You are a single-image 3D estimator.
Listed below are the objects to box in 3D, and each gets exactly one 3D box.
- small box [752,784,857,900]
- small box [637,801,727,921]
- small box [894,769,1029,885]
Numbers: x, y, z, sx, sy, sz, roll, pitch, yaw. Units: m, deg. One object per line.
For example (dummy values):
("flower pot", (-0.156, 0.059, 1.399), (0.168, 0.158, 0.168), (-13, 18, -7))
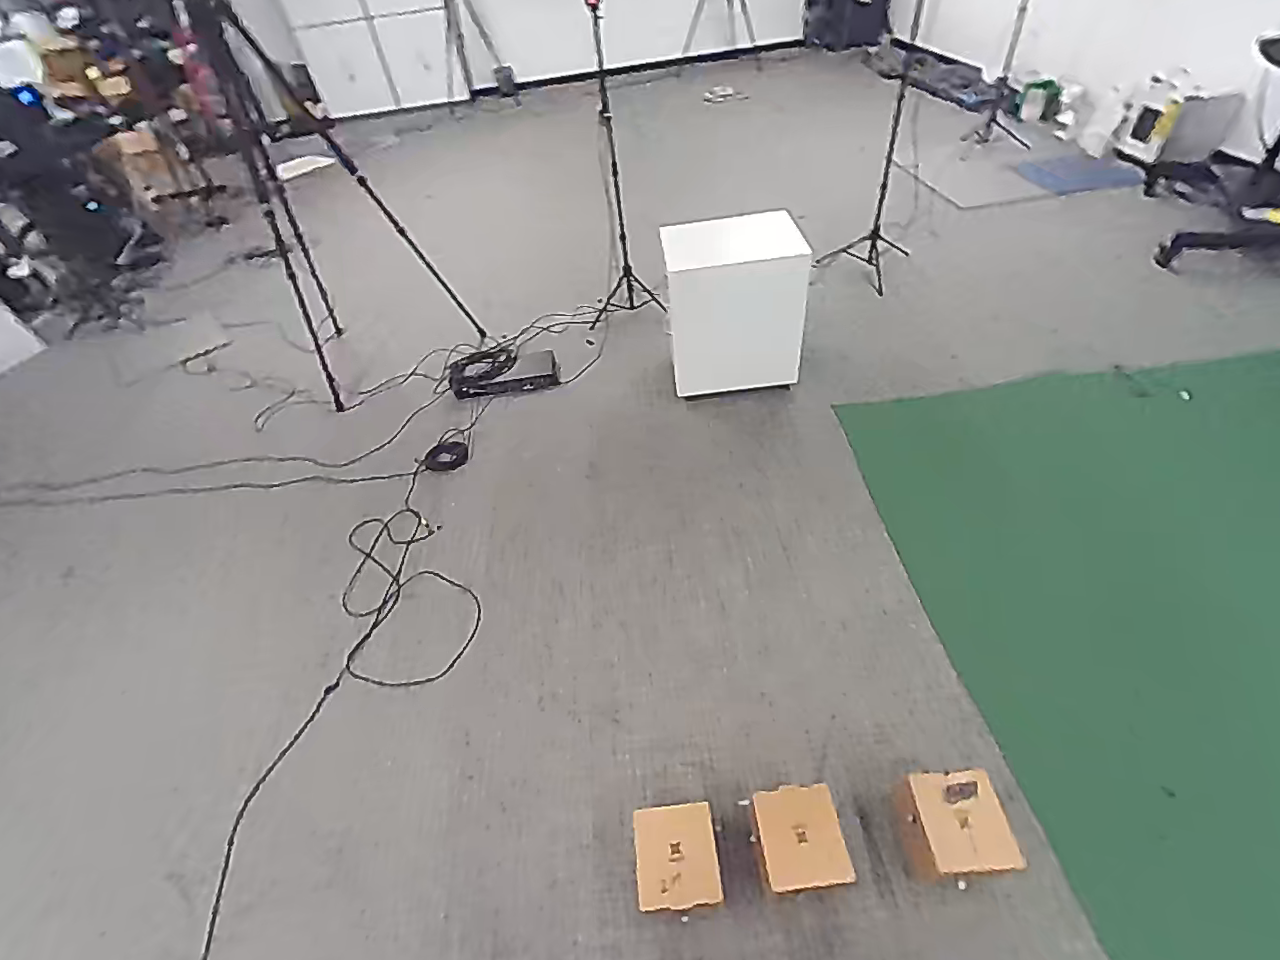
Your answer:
("small box", (0.339, 0.776, 1.153), (0.168, 0.176, 0.179), (-8, 45, 0))
("small box", (0.087, 0.812, 1.150), (0.168, 0.176, 0.179), (-8, 46, 2))
("small box", (0.663, 0.734, 1.144), (0.168, 0.176, 0.179), (-6, 47, 3))
